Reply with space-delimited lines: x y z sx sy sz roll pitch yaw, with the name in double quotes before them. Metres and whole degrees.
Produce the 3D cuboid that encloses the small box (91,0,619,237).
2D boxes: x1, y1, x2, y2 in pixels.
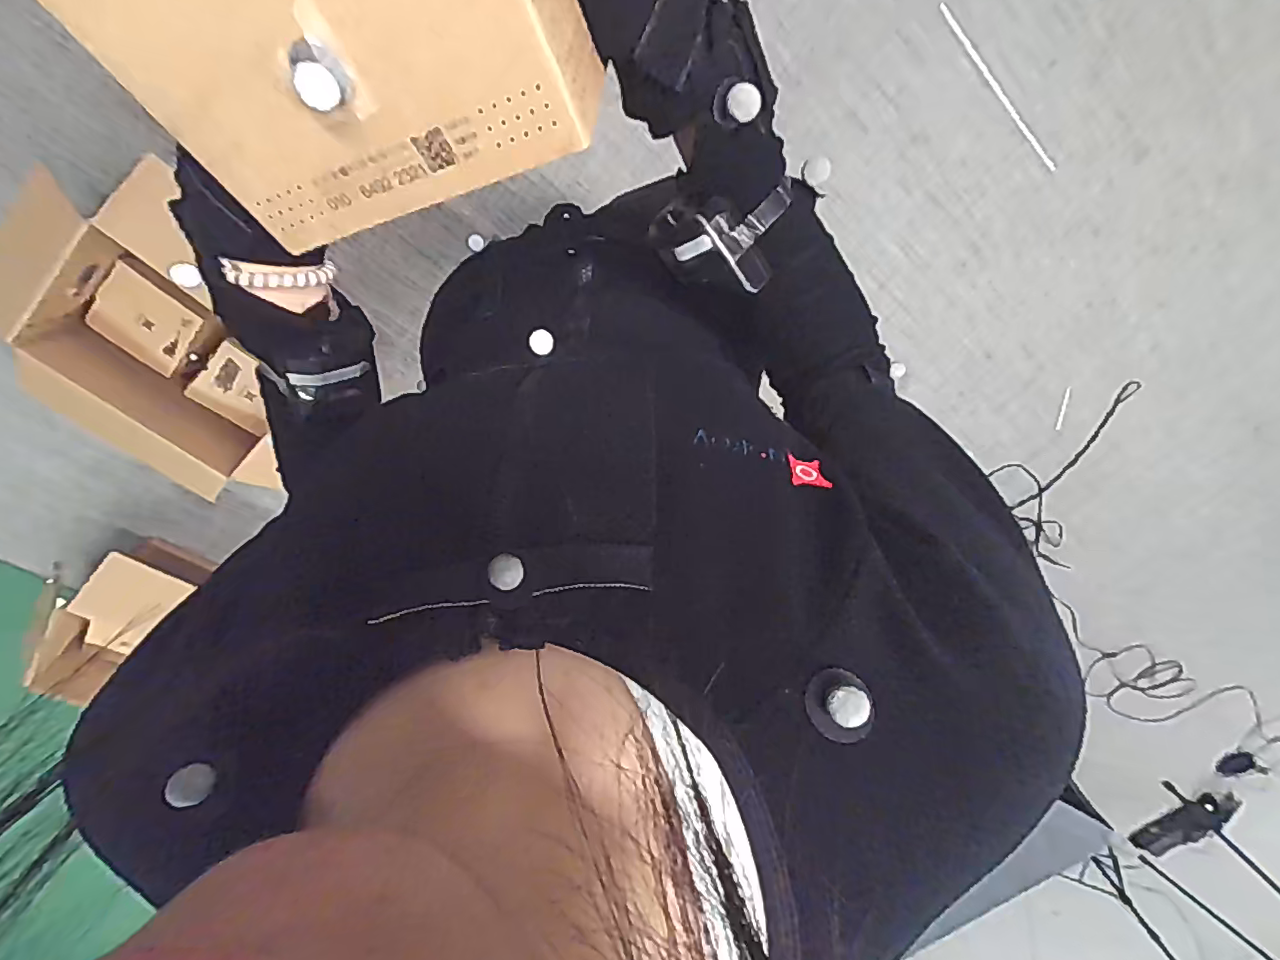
"small box" -0.116 -0.238 0.223 0.168 0.179 0.176 -8 147 19
